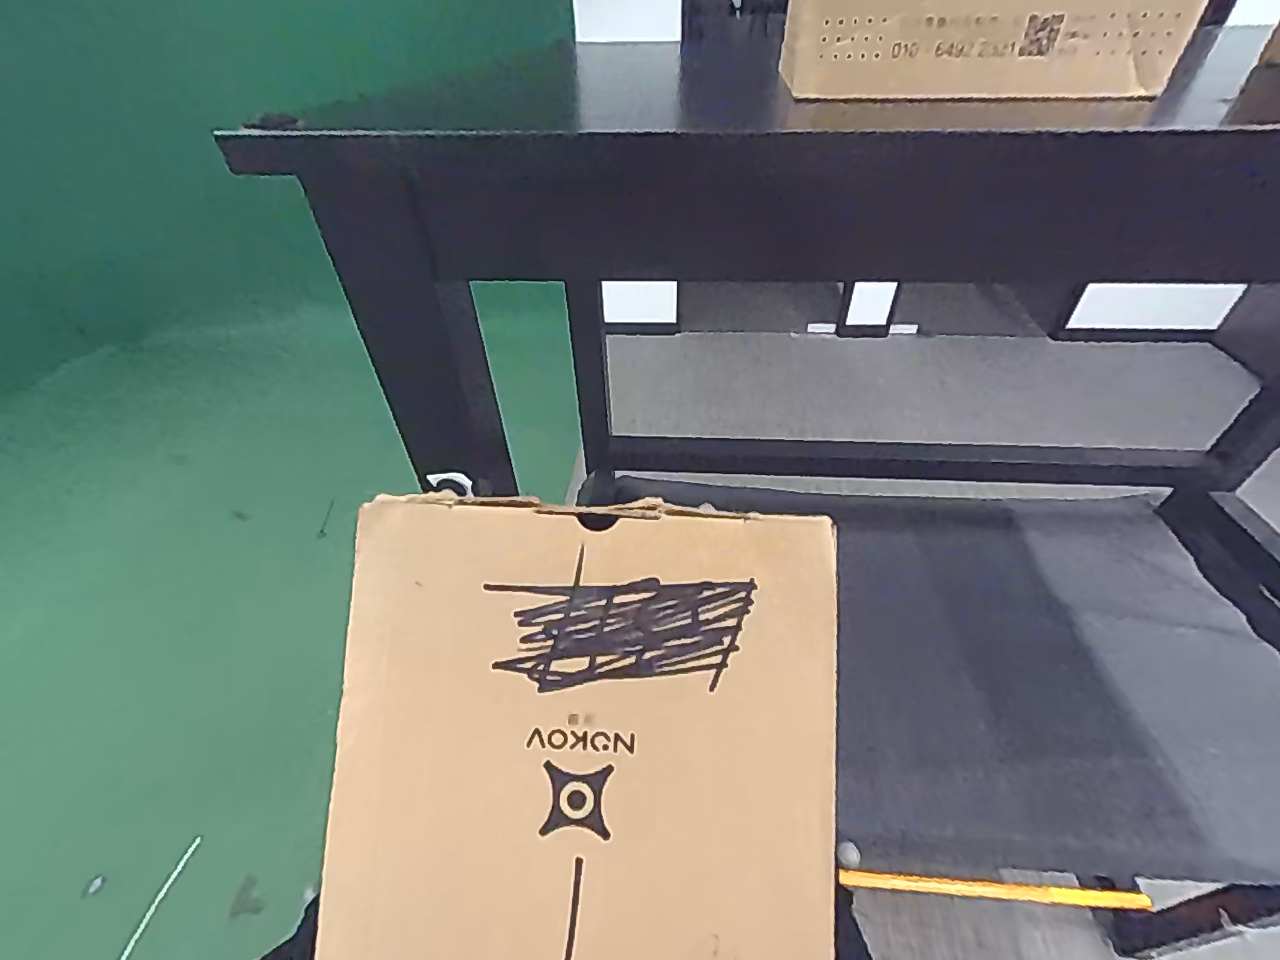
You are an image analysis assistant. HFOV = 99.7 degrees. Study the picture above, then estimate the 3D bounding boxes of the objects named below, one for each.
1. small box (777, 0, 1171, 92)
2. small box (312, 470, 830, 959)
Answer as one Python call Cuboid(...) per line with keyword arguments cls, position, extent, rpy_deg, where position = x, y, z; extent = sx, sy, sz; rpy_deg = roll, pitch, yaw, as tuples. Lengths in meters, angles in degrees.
Cuboid(cls="small box", position=(0.165, -0.304, 0.270), extent=(0.168, 0.176, 0.179), rpy_deg=(5, 41, 7))
Cuboid(cls="small box", position=(-0.018, 0.098, 0.262), extent=(0.168, 0.176, 0.179), rpy_deg=(3, 83, 2))
